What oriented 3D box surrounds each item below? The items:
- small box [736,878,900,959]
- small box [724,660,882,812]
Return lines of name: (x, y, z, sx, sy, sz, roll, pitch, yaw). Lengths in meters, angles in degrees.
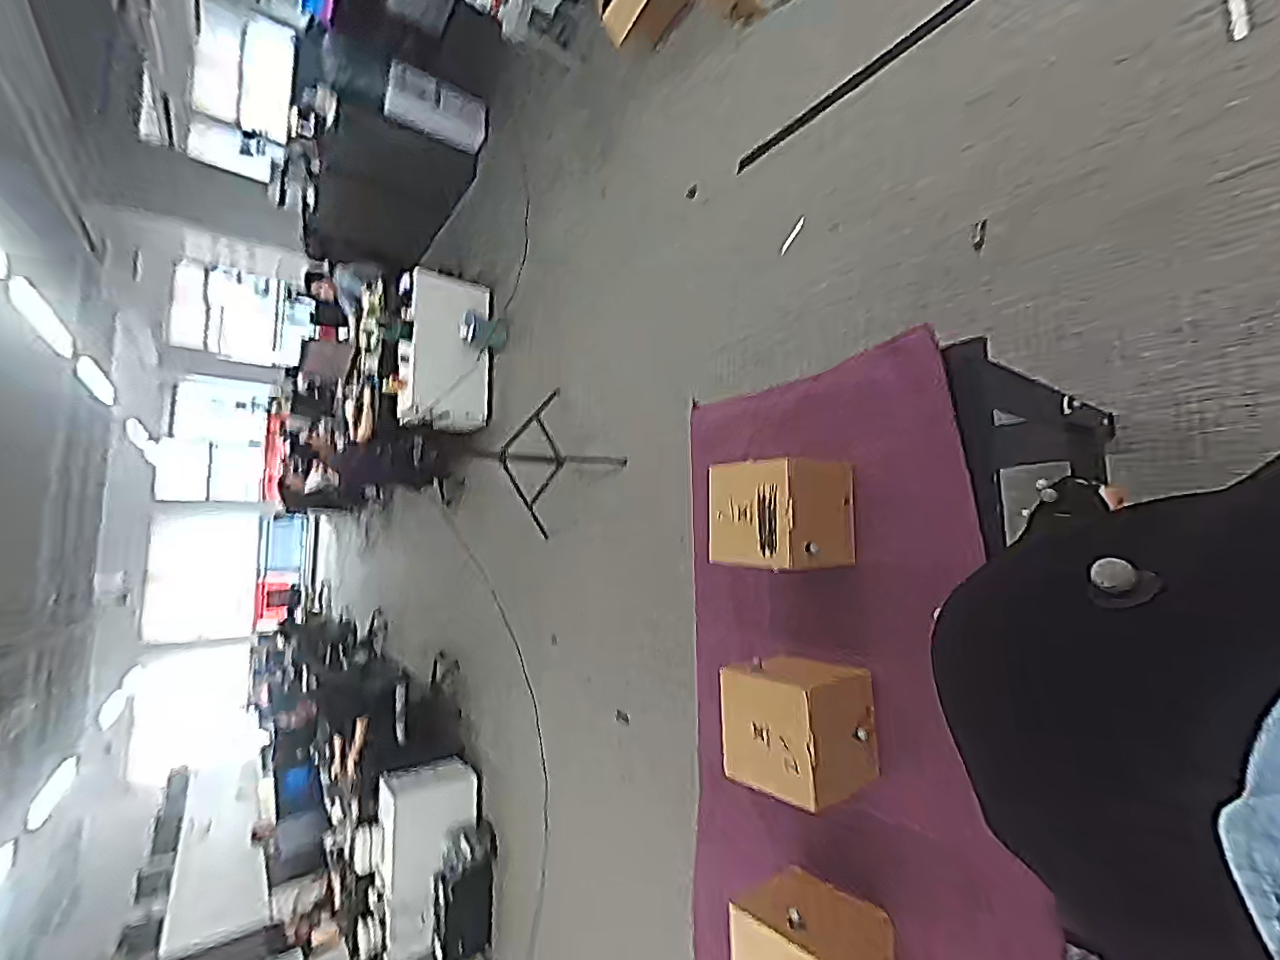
small box: (0.268, 0.741, 0.813, 0.179, 0.176, 0.168, -13, 75, 51)
small box: (0.256, 0.391, 0.863, 0.179, 0.176, 0.168, -12, 78, 52)
